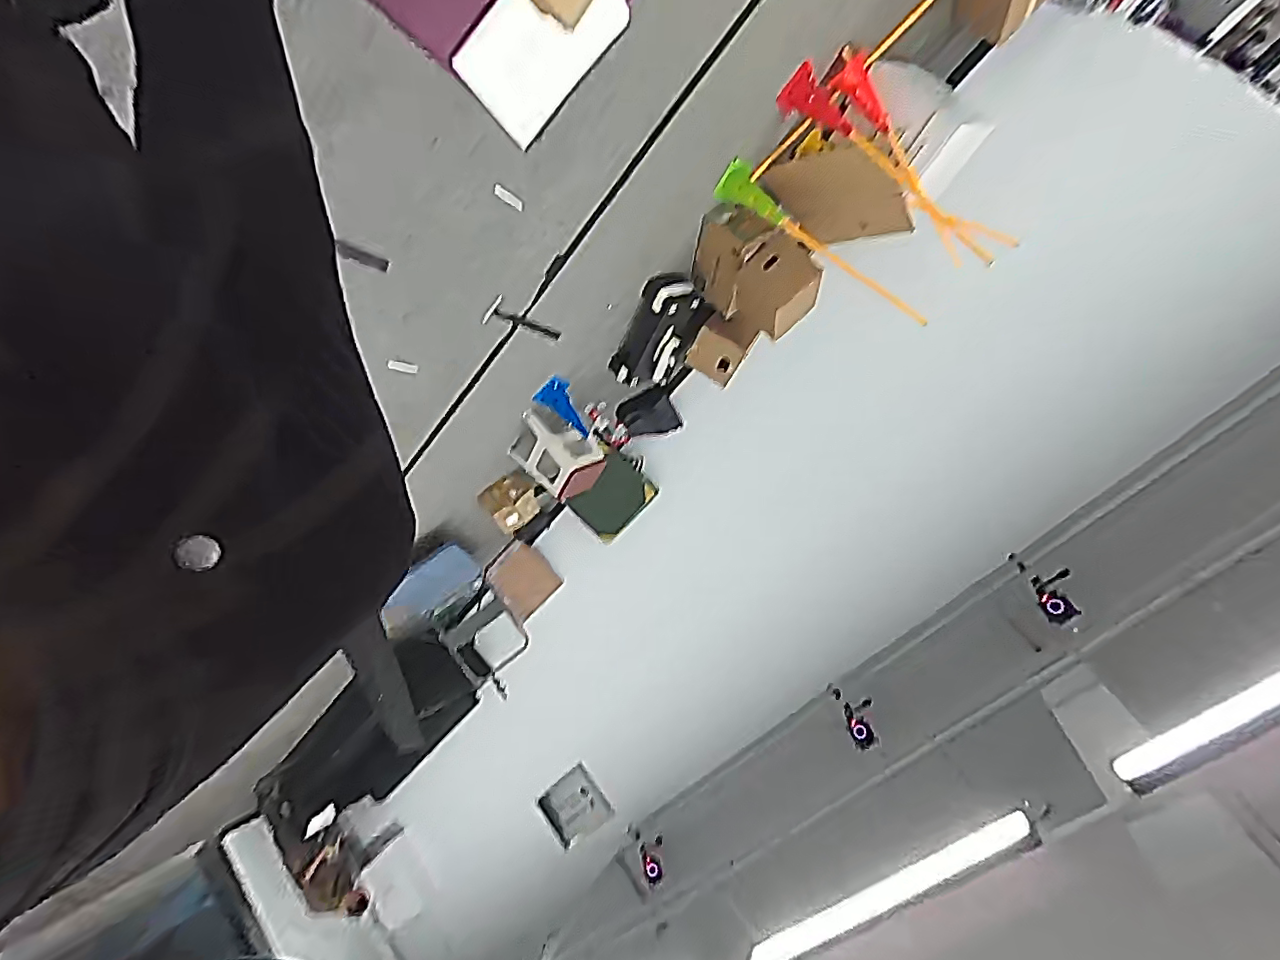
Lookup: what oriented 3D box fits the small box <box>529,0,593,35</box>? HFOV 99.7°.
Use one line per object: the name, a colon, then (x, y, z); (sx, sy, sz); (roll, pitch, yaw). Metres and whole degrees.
small box: (-0.119, -0.669, 0.597); (0.179, 0.176, 0.168); (-47, 164, 17)
